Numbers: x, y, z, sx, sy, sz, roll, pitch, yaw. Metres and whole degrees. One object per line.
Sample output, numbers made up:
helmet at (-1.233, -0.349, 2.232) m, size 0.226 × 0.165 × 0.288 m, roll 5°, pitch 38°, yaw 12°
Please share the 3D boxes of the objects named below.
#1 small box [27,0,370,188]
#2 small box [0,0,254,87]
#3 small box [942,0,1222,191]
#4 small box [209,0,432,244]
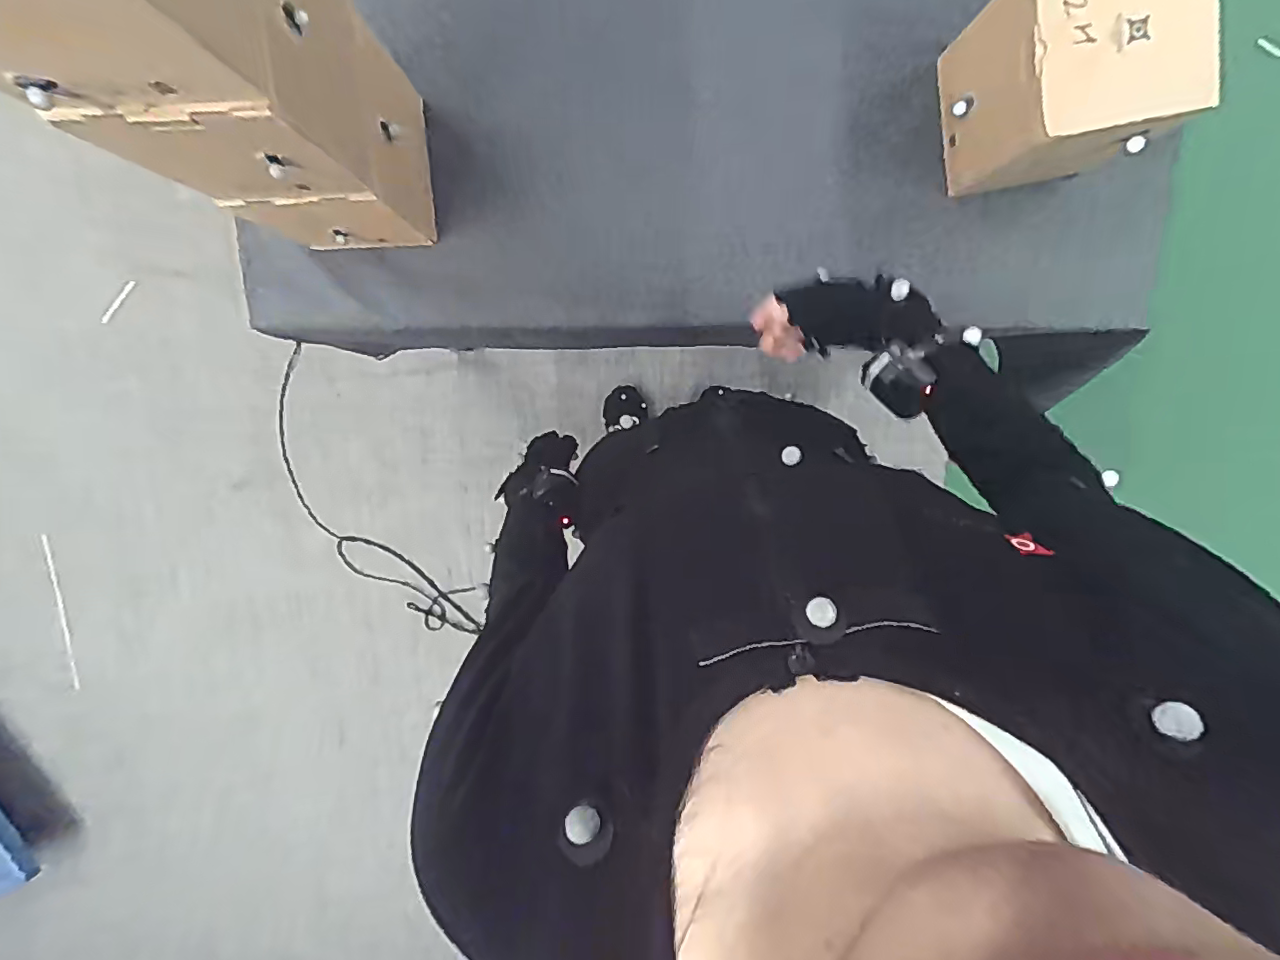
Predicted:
small box at (-0.343, -0.355, 0.441) m, size 0.168 × 0.176 × 0.179 m, roll -2°, pitch 100°, yaw -1°
small box at (-0.340, -0.334, 0.278) m, size 0.168 × 0.176 × 0.179 m, roll -4°, pitch 100°, yaw -2°
small box at (0.467, -0.444, 0.594) m, size 0.179 × 0.176 × 0.168 m, roll -10°, pitch 99°, yaw 3°
small box at (-0.348, -0.379, 0.602) m, size 0.168 × 0.176 × 0.179 m, roll -3°, pitch 100°, yaw 0°
